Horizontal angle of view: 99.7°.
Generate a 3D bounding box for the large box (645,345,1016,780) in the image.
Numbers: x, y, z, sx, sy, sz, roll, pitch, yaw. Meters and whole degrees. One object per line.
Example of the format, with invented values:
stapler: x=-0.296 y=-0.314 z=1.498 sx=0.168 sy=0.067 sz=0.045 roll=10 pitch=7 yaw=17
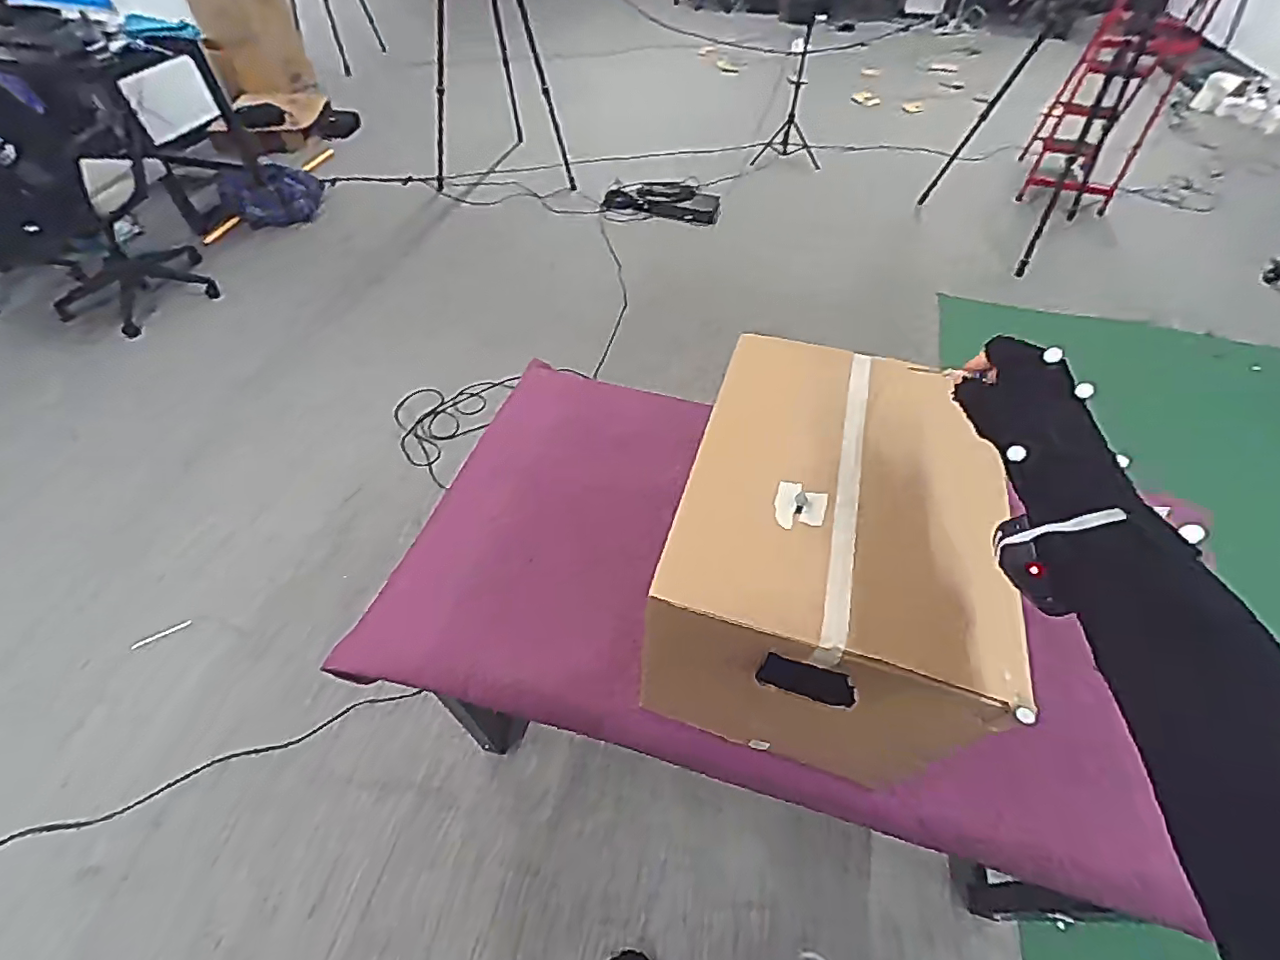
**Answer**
large box: x=0.213 y=0.097 z=0.694 sx=0.320 sy=0.320 sz=0.408 roll=15 pitch=53 yaw=11
